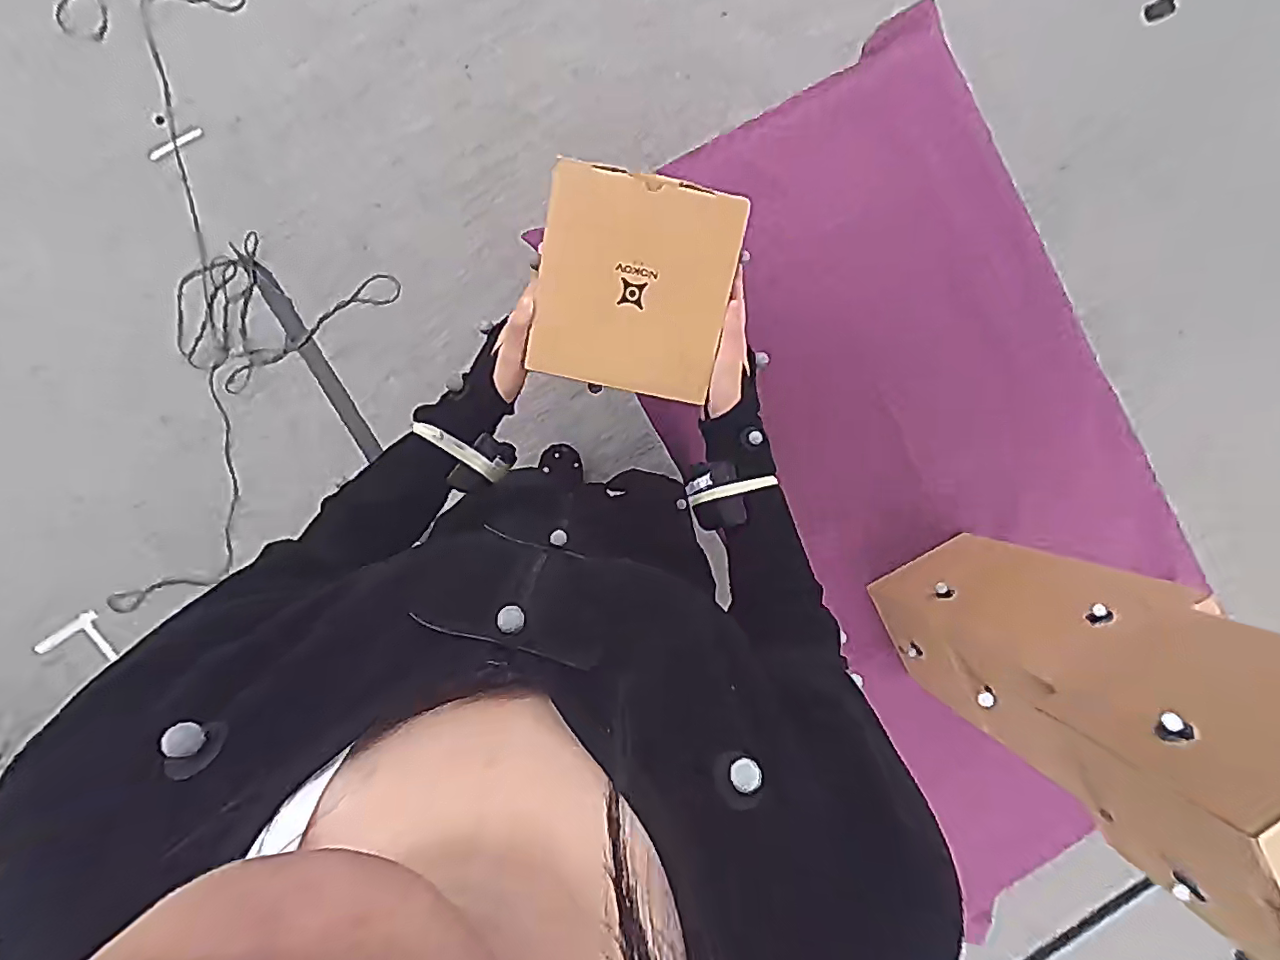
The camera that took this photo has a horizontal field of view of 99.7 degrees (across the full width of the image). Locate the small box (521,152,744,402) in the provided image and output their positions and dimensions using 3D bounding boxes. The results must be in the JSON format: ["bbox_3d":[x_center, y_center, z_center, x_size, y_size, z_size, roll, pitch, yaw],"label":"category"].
[{"bbox_3d":[-0.010,-0.186,0.535,0.168,0.176,0.179,10,103,-4],"label":"small box"}]

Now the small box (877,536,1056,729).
[{"bbox_3d":[0.459,0.196,0.747,0.179,0.176,0.168,-28,96,-4],"label":"small box"}]

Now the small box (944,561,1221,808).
[{"bbox_3d":[0.480,0.207,0.584,0.179,0.176,0.168,-28,96,-2],"label":"small box"}]

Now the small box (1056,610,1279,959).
[{"bbox_3d":[0.477,0.231,0.422,0.179,0.176,0.168,-31,97,-3],"label":"small box"}]
